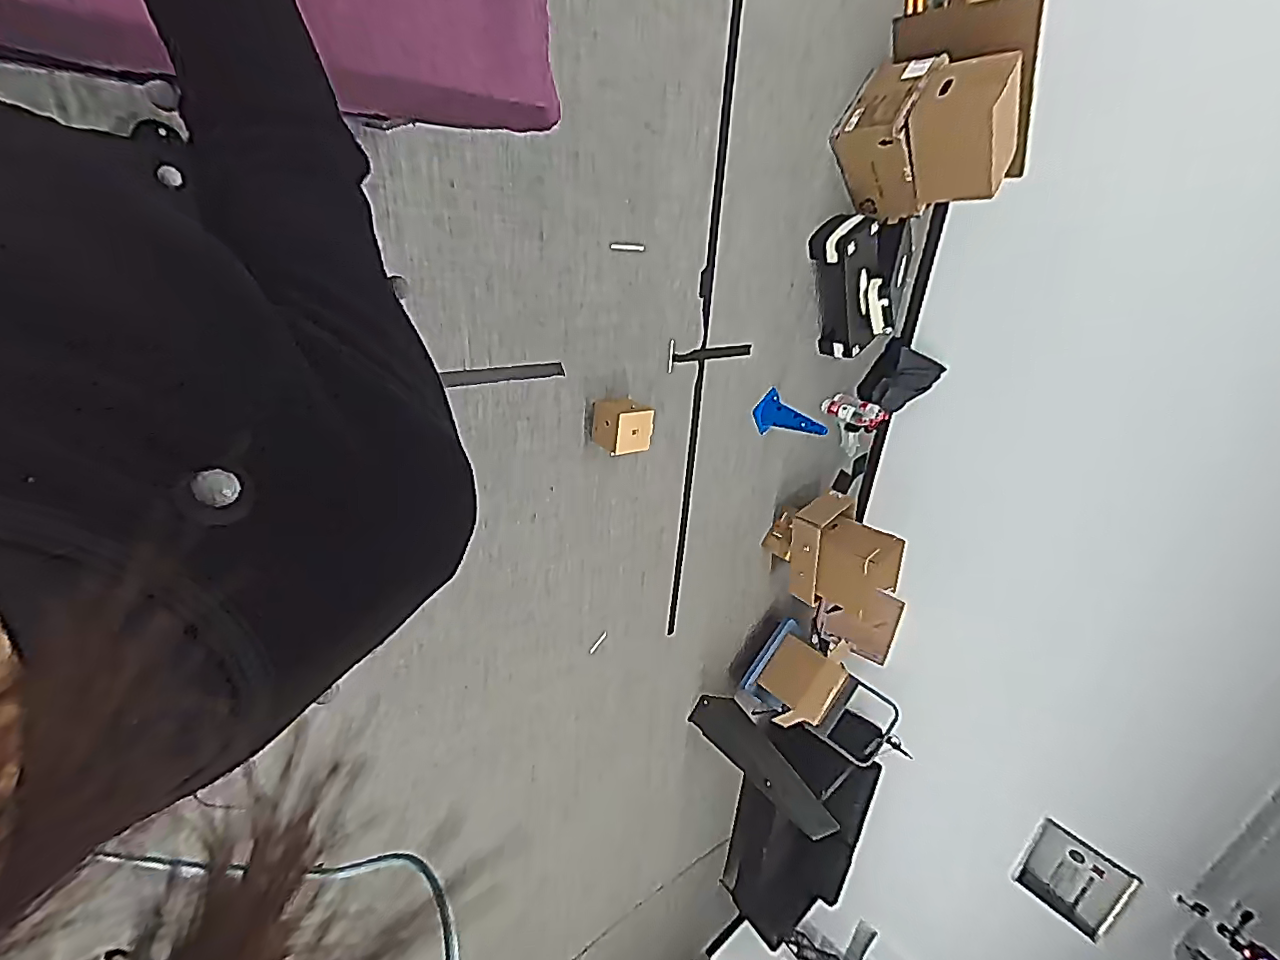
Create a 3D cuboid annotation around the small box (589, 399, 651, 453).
[{"bbox_3d":[-0.081,-0.216,2.127,0.179,0.176,0.168,-13,120,-40],"label":"small box"}]
